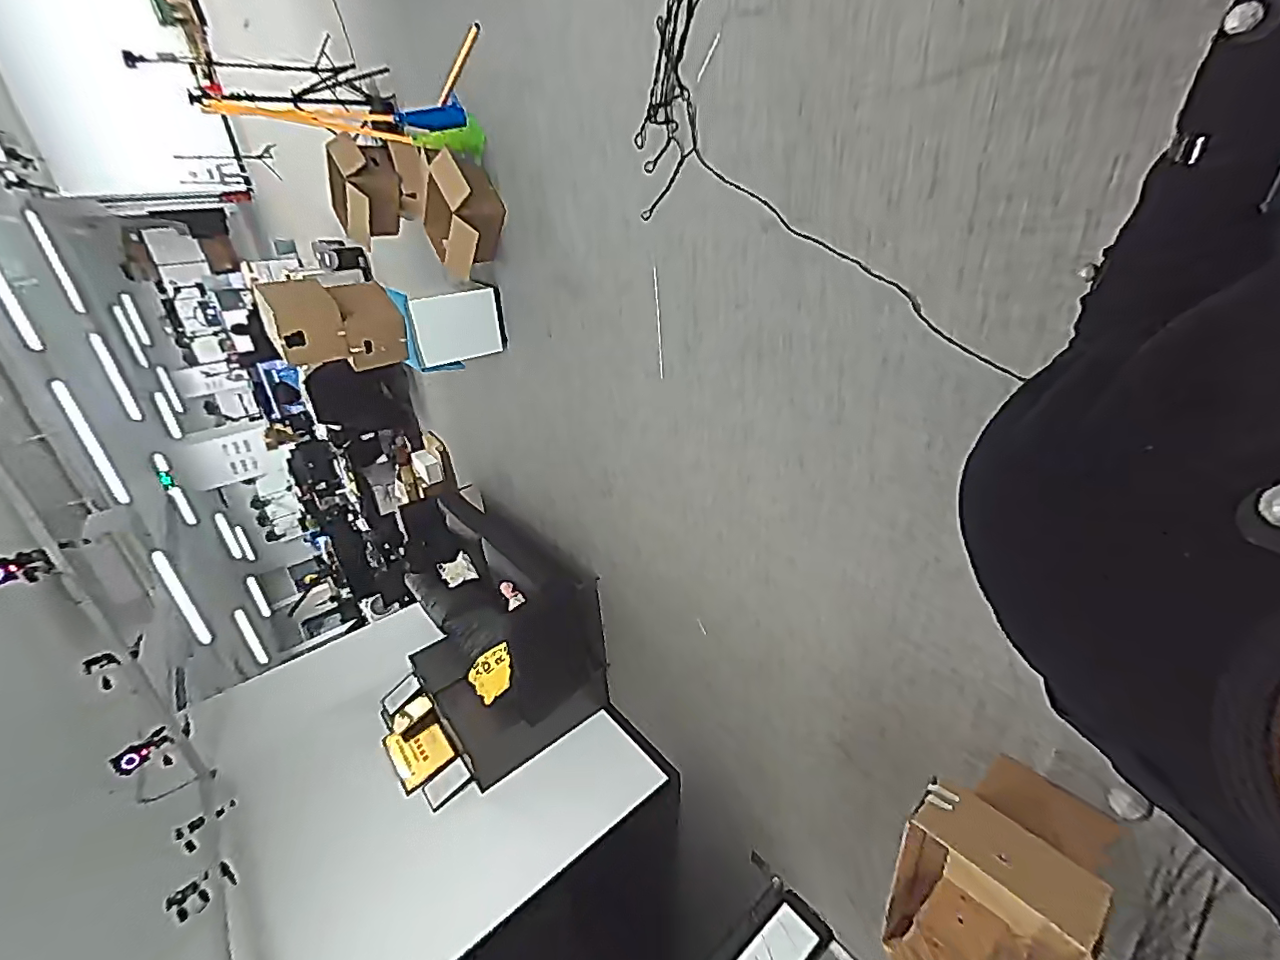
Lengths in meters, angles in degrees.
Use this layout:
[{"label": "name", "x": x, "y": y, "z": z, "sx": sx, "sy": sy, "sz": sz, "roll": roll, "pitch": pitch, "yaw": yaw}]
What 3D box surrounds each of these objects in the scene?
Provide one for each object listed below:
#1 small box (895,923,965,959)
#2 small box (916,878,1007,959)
[{"label": "small box", "x": 0.735, "y": 1.280, "z": 1.354, "sx": 0.168, "sy": 0.176, "sz": 0.179, "roll": 19, "pitch": 122, "yaw": 49}, {"label": "small box", "x": 0.857, "y": 1.235, "z": 1.454, "sx": 0.168, "sy": 0.176, "sz": 0.179, "roll": 21, "pitch": 122, "yaw": 49}]
